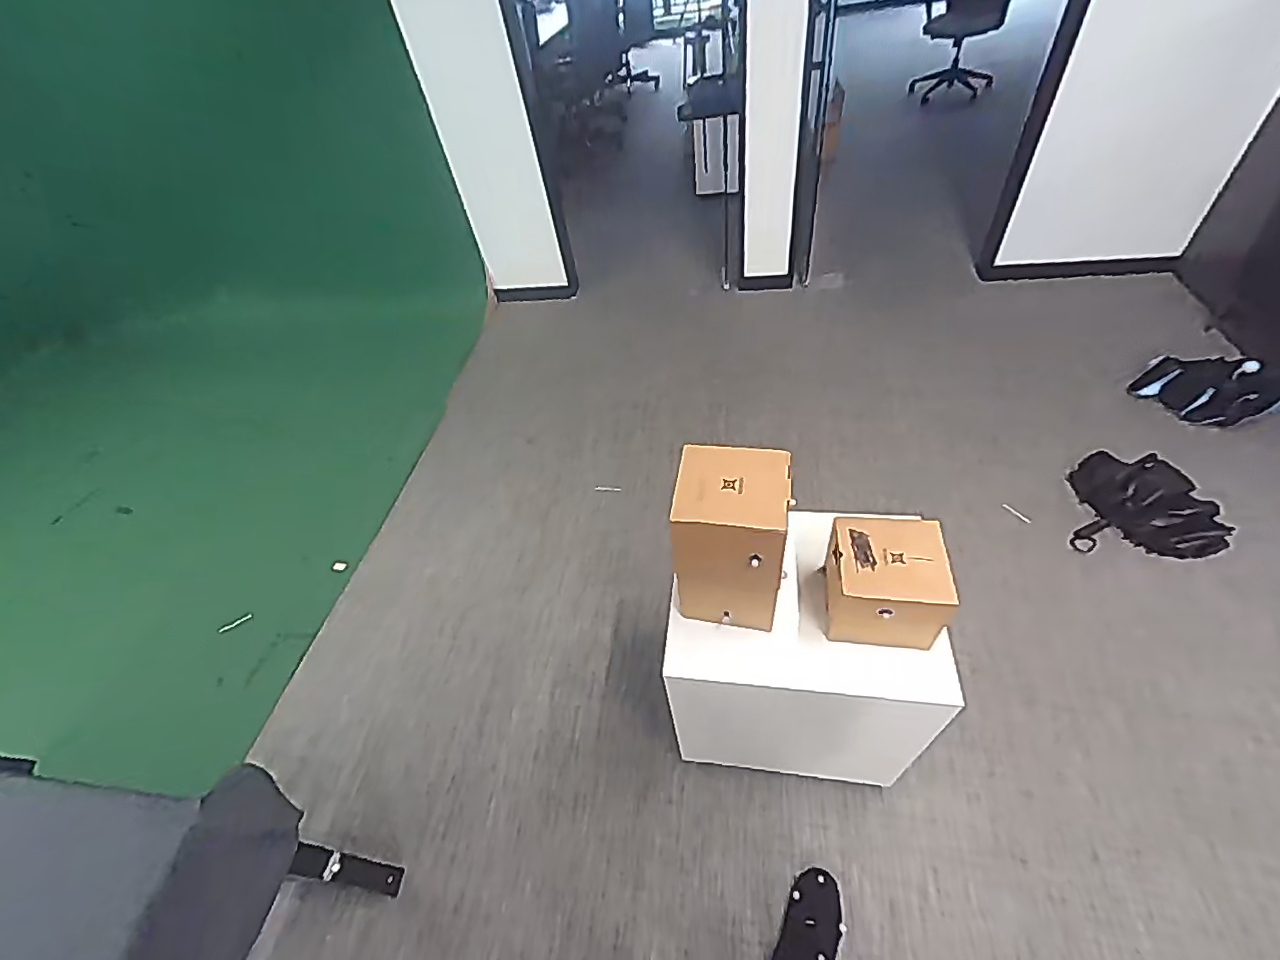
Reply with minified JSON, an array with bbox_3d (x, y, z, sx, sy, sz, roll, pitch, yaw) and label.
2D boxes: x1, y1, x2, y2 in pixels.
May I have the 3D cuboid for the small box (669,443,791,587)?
[{"bbox_3d":[0.148,0.060,0.886,0.179,0.176,0.168,4,47,11],"label":"small box"}]

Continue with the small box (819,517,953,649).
[{"bbox_3d":[0.421,0.185,0.963,0.179,0.176,0.168,3,48,9],"label":"small box"}]
